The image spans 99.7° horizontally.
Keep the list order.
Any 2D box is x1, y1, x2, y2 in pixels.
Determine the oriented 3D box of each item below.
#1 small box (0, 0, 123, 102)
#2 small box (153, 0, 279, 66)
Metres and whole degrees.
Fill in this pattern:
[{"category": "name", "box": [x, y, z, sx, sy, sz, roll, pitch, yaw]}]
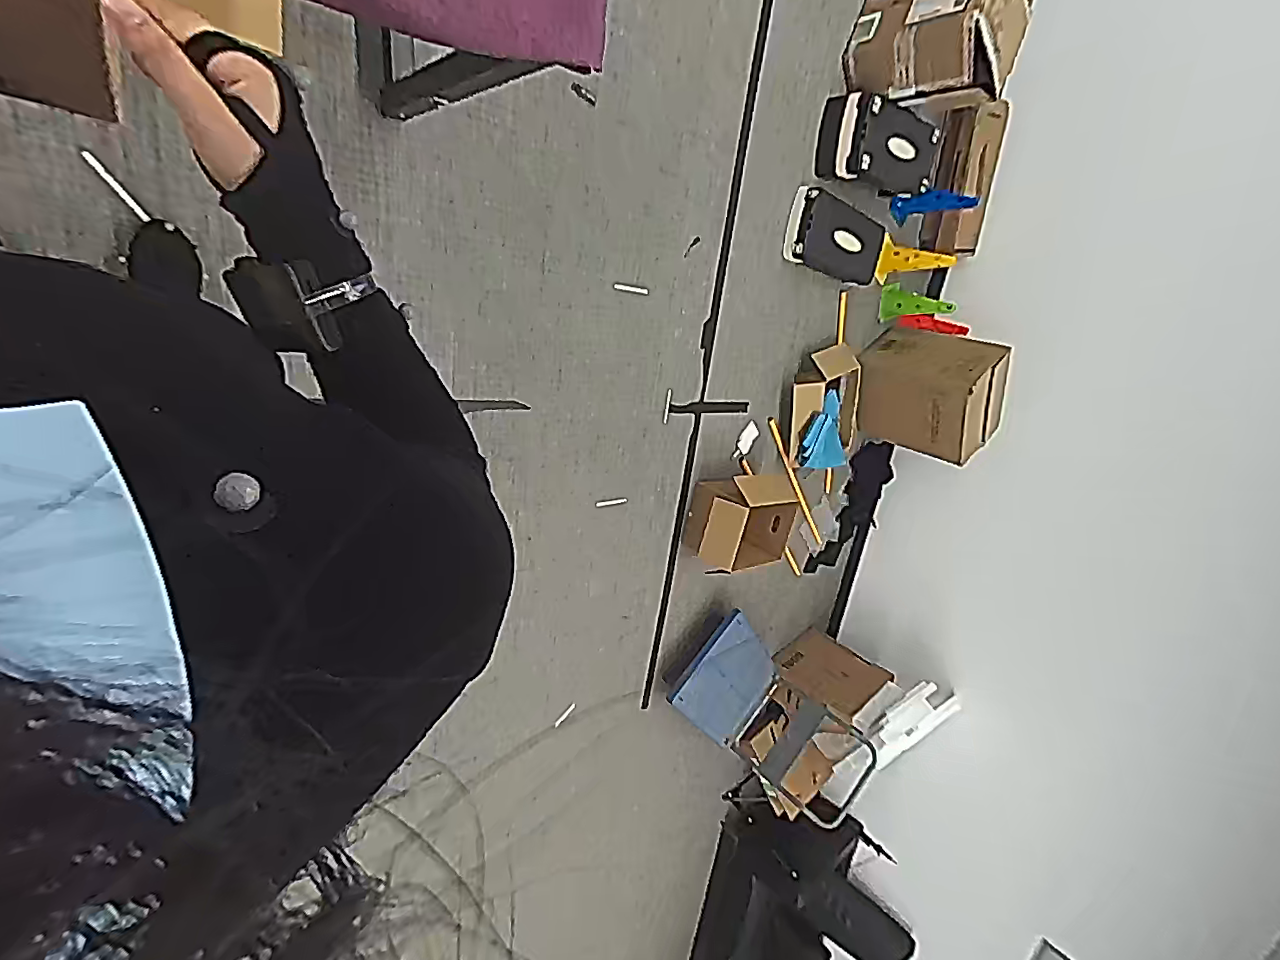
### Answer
[{"category": "small box", "box": [-0.388, -0.345, 0.278, 0.168, 0.176, 0.179, -3, 94, -40]}, {"category": "small box", "box": [-0.747, -0.871, 0.950, 0.168, 0.176, 0.179, -4, 112, -43]}]
